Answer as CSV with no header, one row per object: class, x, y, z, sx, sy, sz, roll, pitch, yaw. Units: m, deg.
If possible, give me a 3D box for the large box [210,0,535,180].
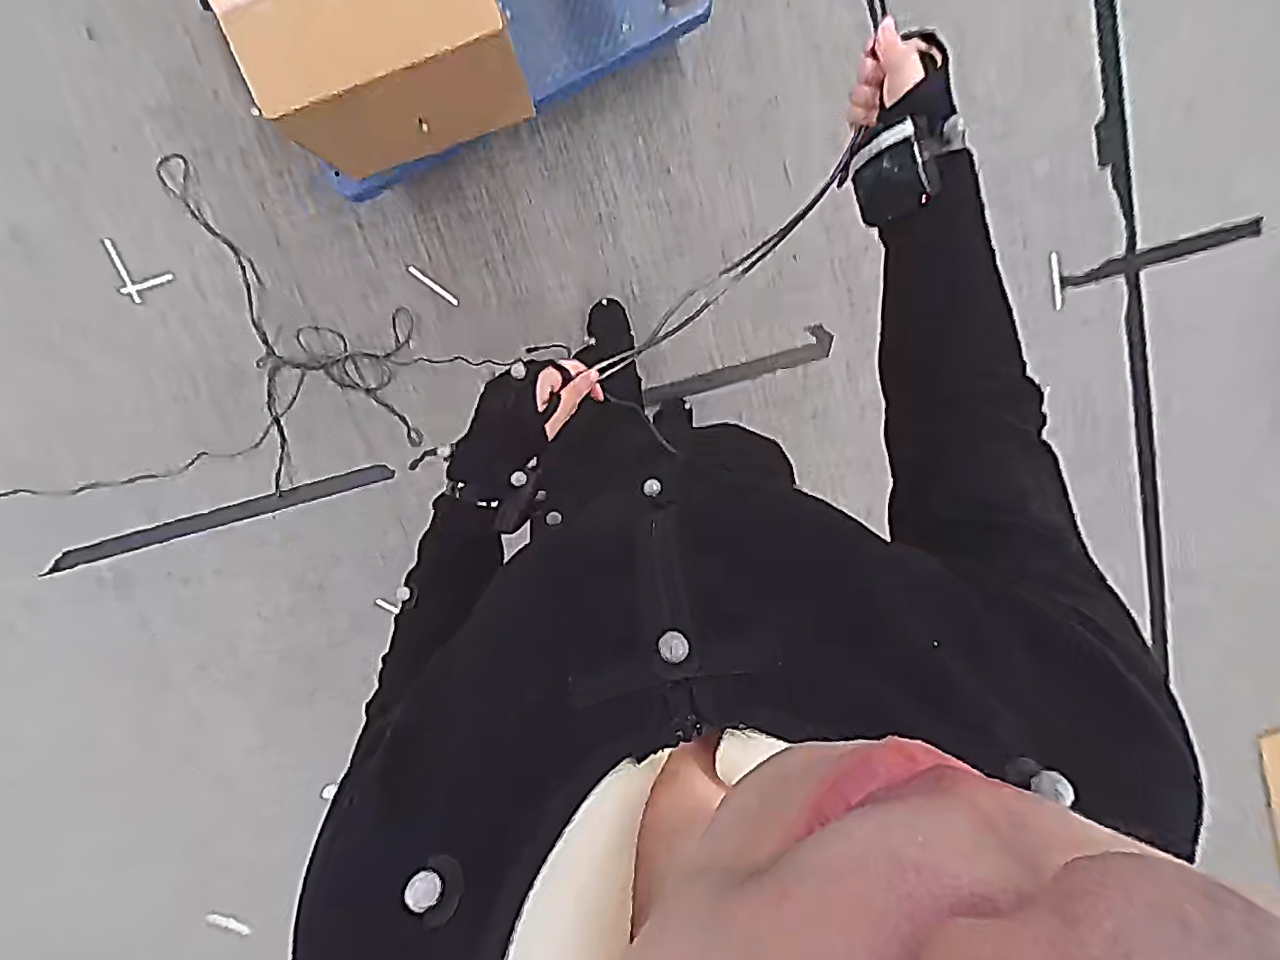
large box,-0.445,-0.789,0.940,0.408,0.320,0.320,-19,102,3
